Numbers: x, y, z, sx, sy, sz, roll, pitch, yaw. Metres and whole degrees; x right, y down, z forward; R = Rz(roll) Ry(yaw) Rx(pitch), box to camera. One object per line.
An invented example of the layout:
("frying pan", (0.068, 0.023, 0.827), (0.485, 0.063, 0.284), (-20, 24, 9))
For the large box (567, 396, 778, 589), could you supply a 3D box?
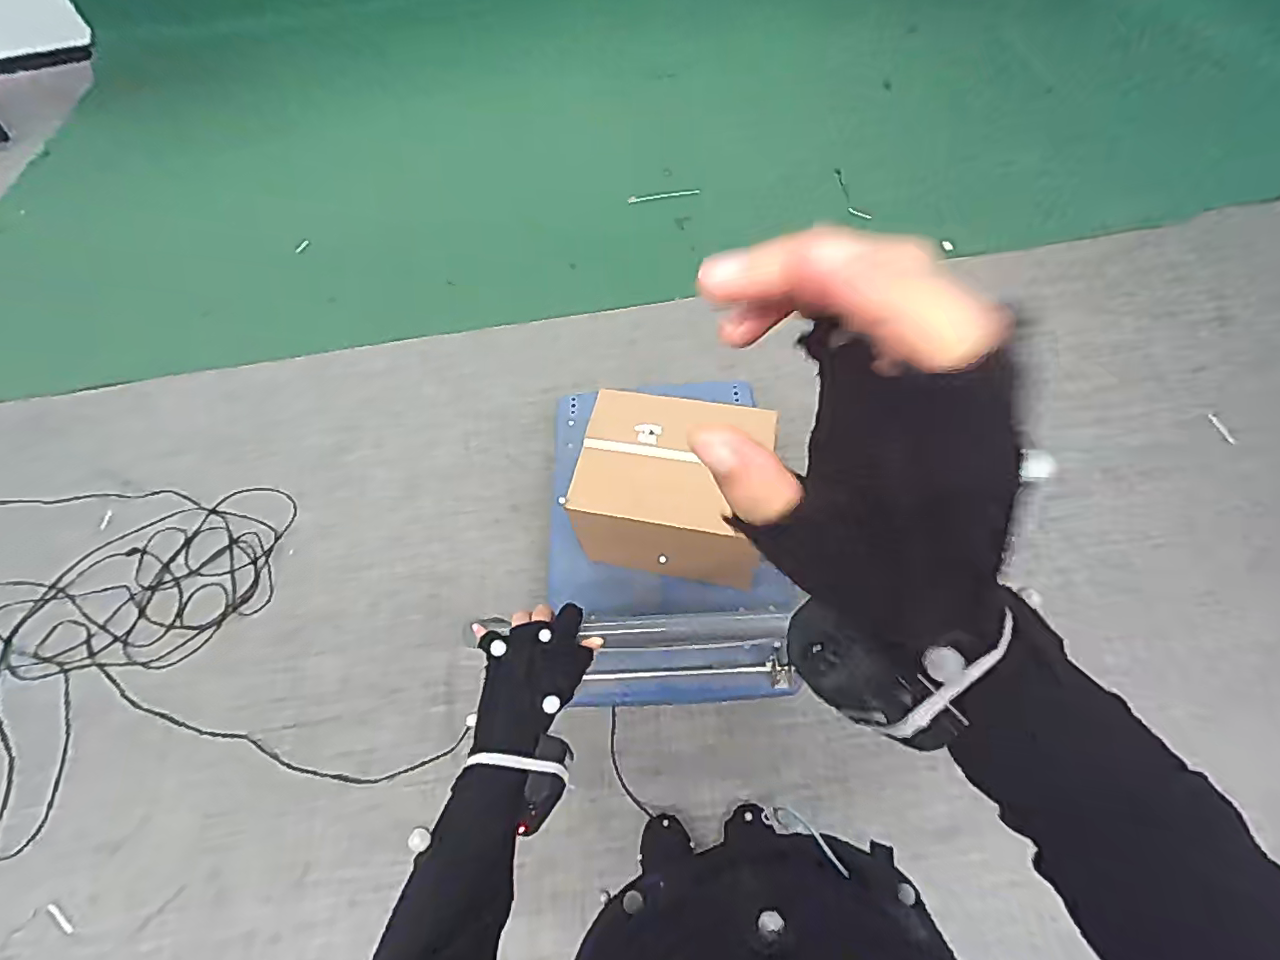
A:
("large box", (0.090, 0.037, 1.265), (0.408, 0.320, 0.320), (9, 62, 11))
